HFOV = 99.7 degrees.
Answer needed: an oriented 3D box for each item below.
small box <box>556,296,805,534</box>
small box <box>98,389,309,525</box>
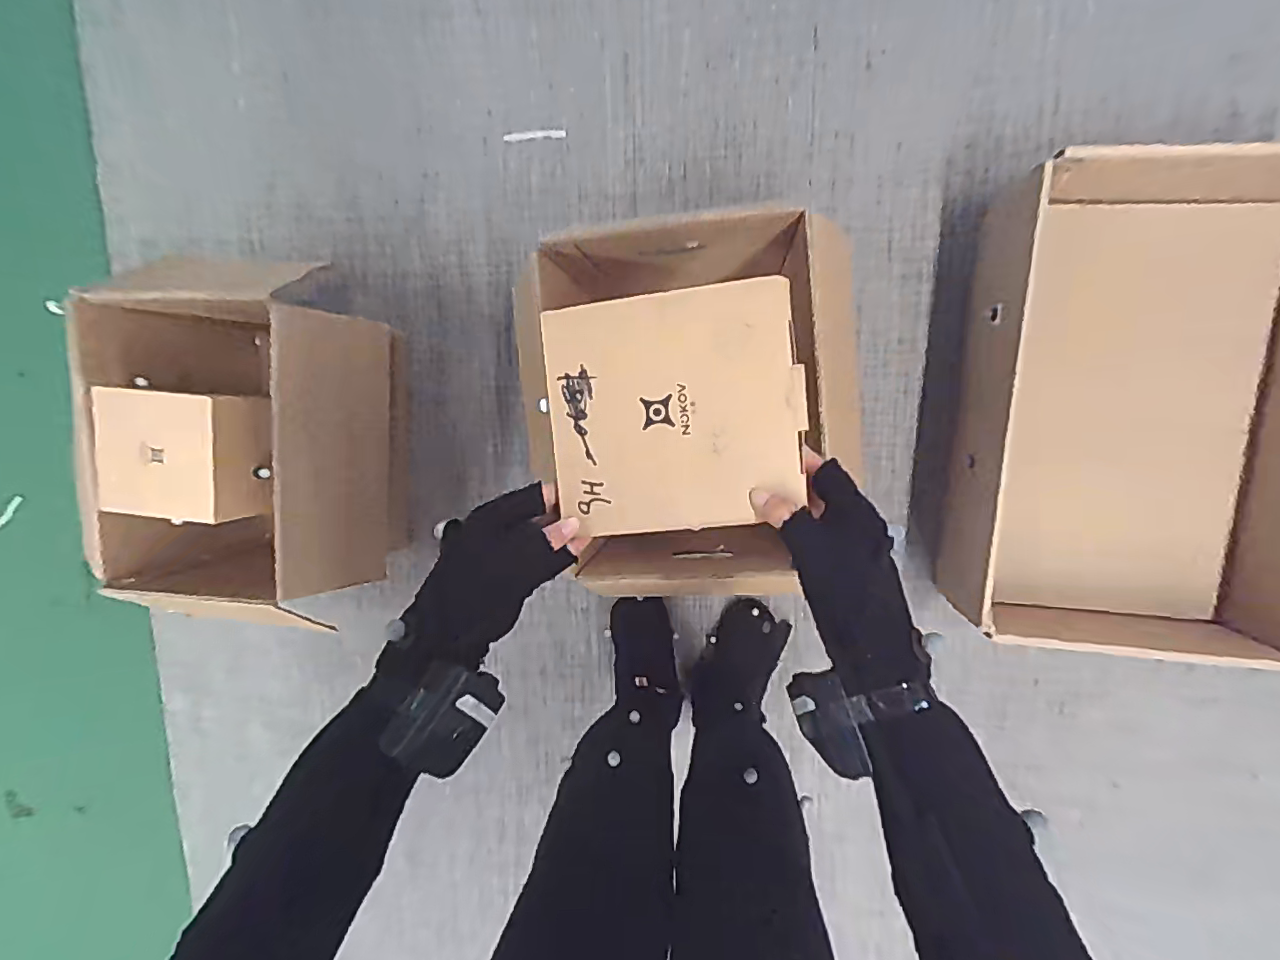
[{"bbox_3d":[0.039,-0.049,0.477,0.179,0.176,0.168,-5,91,9],"label":"small box"},{"bbox_3d":[-0.610,-0.039,0.778,0.179,0.176,0.168,6,97,7],"label":"small box"}]
